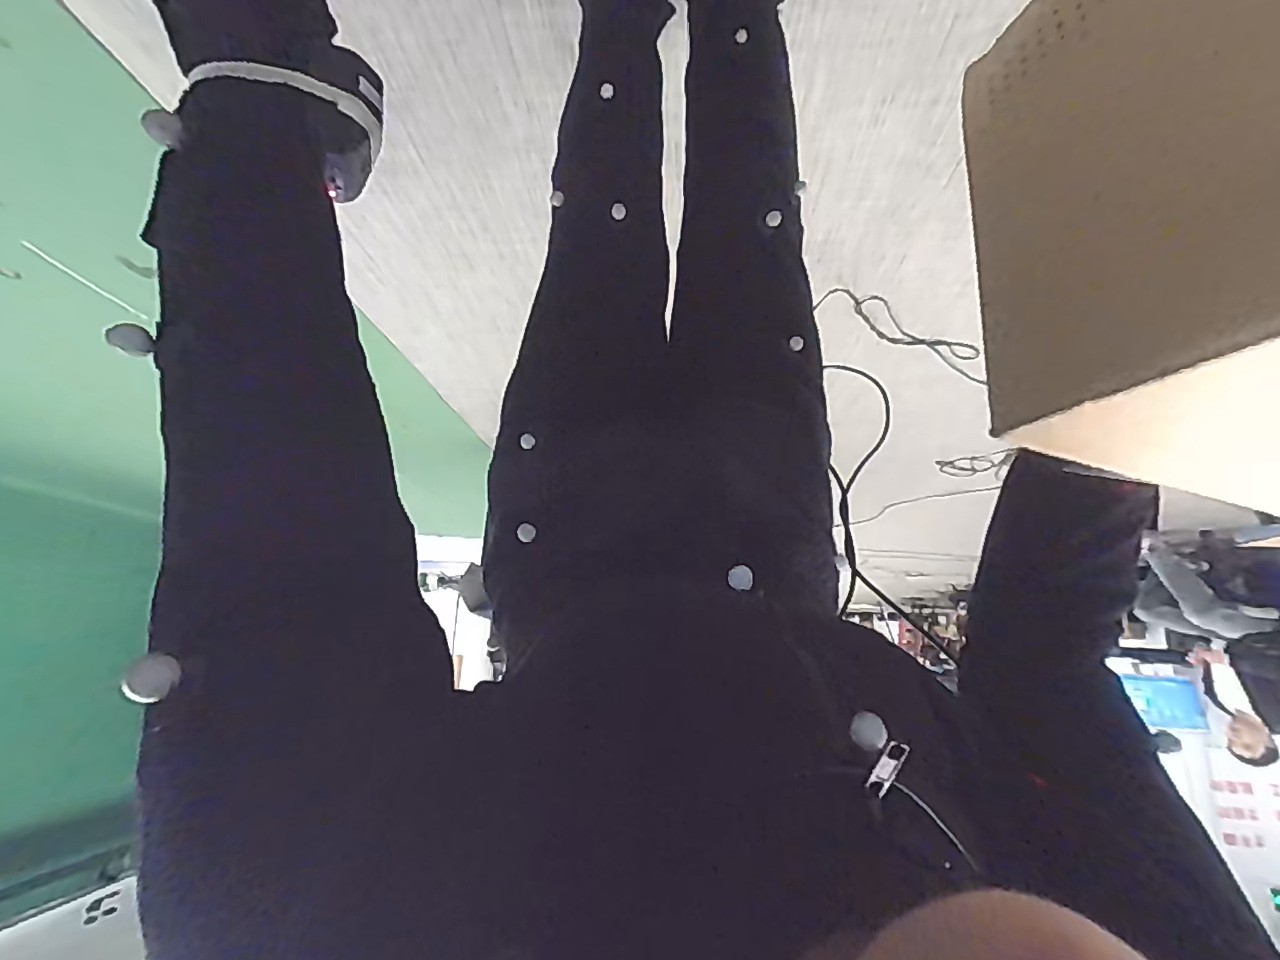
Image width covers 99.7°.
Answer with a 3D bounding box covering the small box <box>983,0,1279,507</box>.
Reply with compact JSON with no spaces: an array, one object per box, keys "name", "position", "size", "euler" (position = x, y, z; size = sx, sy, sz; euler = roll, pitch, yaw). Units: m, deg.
[{"name":"small box","position":[0.228,-0.102,0.148],"size":[0.168,0.176,0.179],"euler":[12,163,-16]}]
